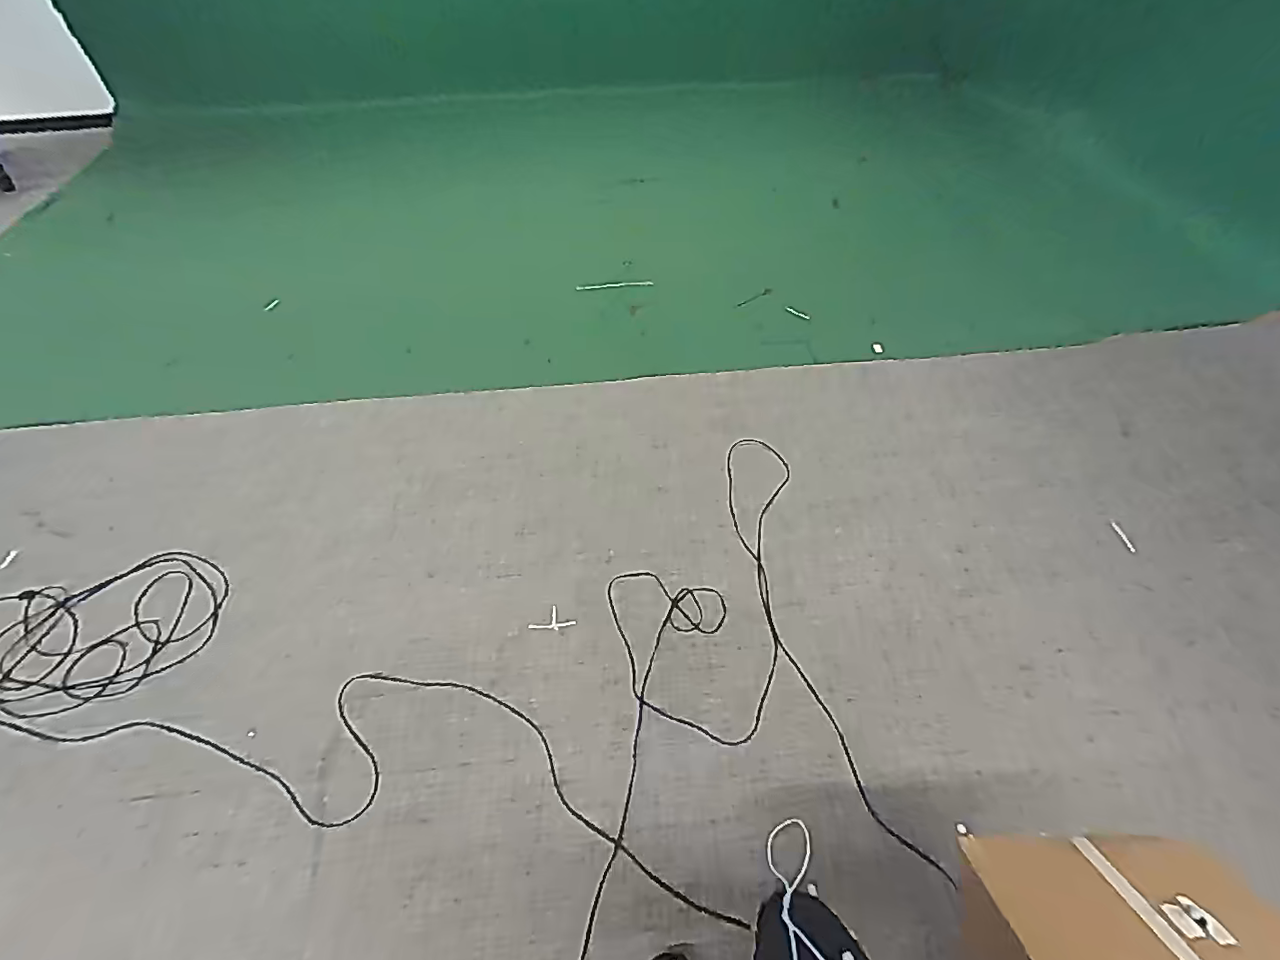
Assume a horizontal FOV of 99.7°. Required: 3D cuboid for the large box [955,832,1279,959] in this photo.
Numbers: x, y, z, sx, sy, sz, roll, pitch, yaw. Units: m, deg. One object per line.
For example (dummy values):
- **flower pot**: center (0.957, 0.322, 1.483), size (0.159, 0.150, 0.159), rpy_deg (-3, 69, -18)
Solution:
- **large box**: center (0.598, 0.674, 0.584), size (0.320, 0.408, 0.320), rpy_deg (-2, 95, 6)
